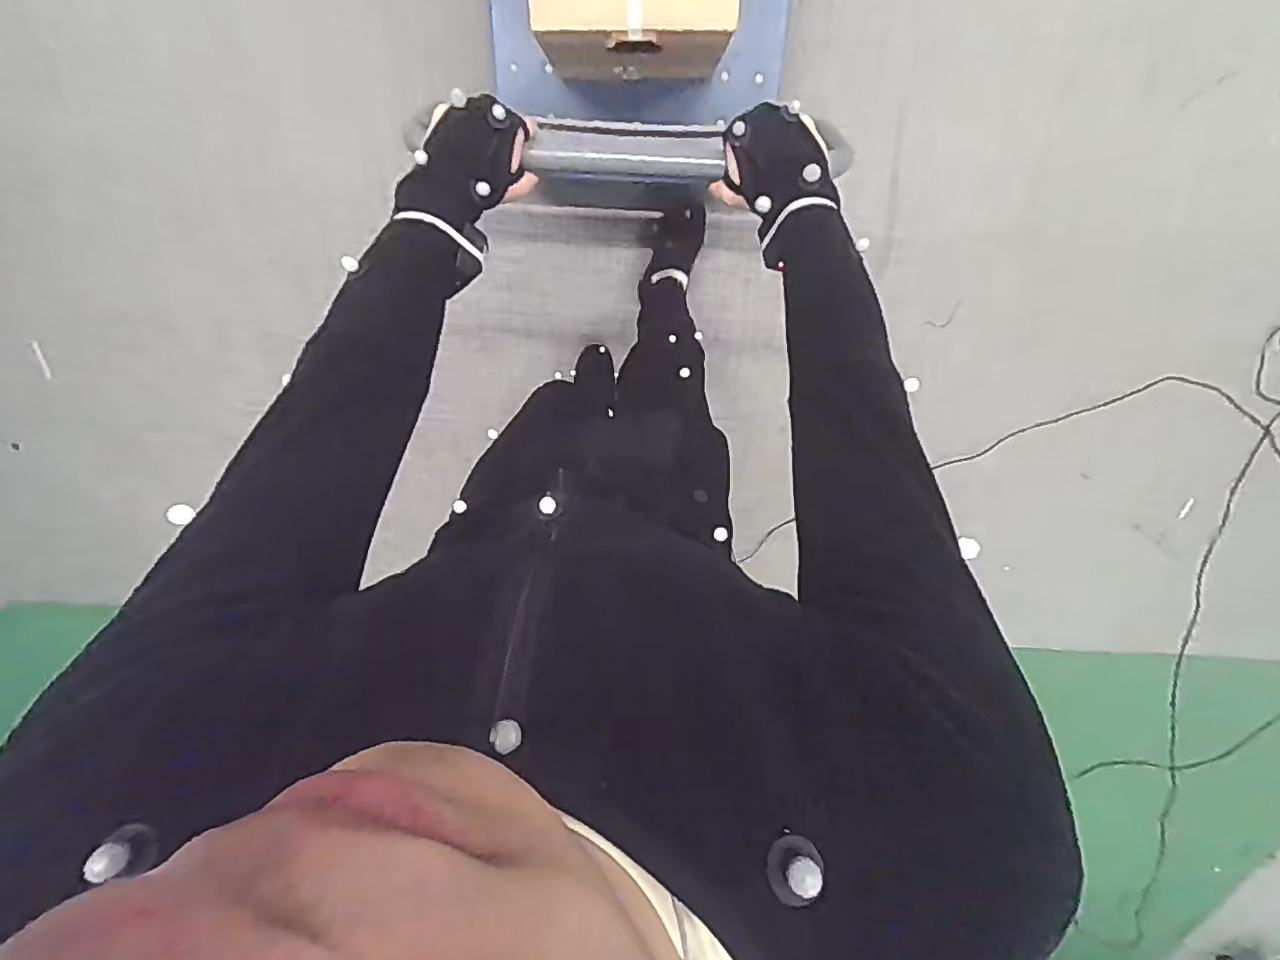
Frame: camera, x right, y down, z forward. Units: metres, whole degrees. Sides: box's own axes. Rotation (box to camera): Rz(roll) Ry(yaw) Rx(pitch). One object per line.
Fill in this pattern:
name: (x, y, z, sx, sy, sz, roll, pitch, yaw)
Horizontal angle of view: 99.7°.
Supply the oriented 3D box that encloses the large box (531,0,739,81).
large box: (-0.006, -0.919, 0.867, 0.320, 0.320, 0.408, 0, 116, 1)
